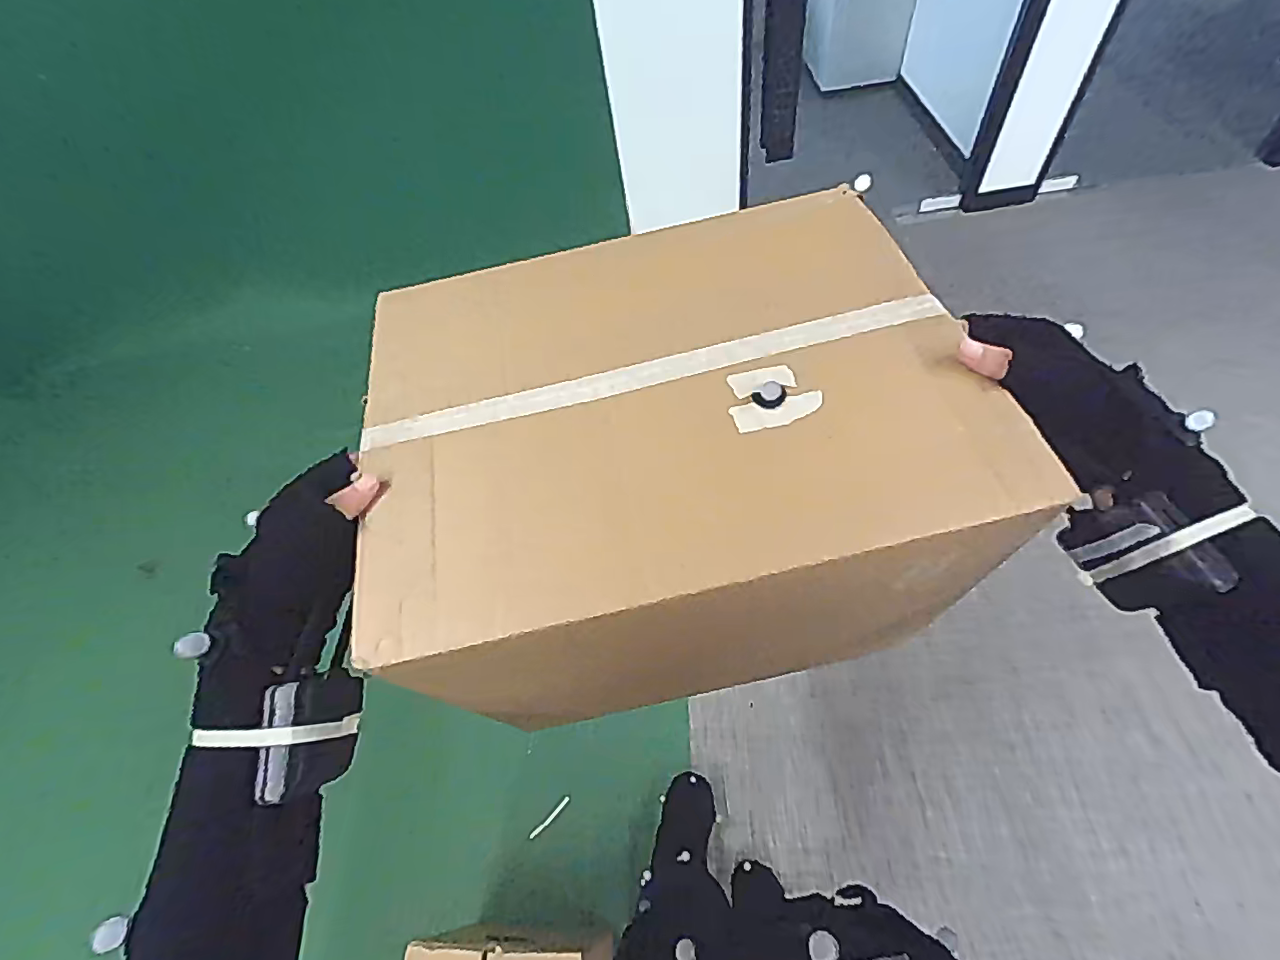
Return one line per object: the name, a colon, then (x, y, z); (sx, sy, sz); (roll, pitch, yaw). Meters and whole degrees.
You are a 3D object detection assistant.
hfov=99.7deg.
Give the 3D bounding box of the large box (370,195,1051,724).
large box: (0.027, 0.002, 0.505); (0.408, 0.320, 0.320); (-13, 59, -1)
